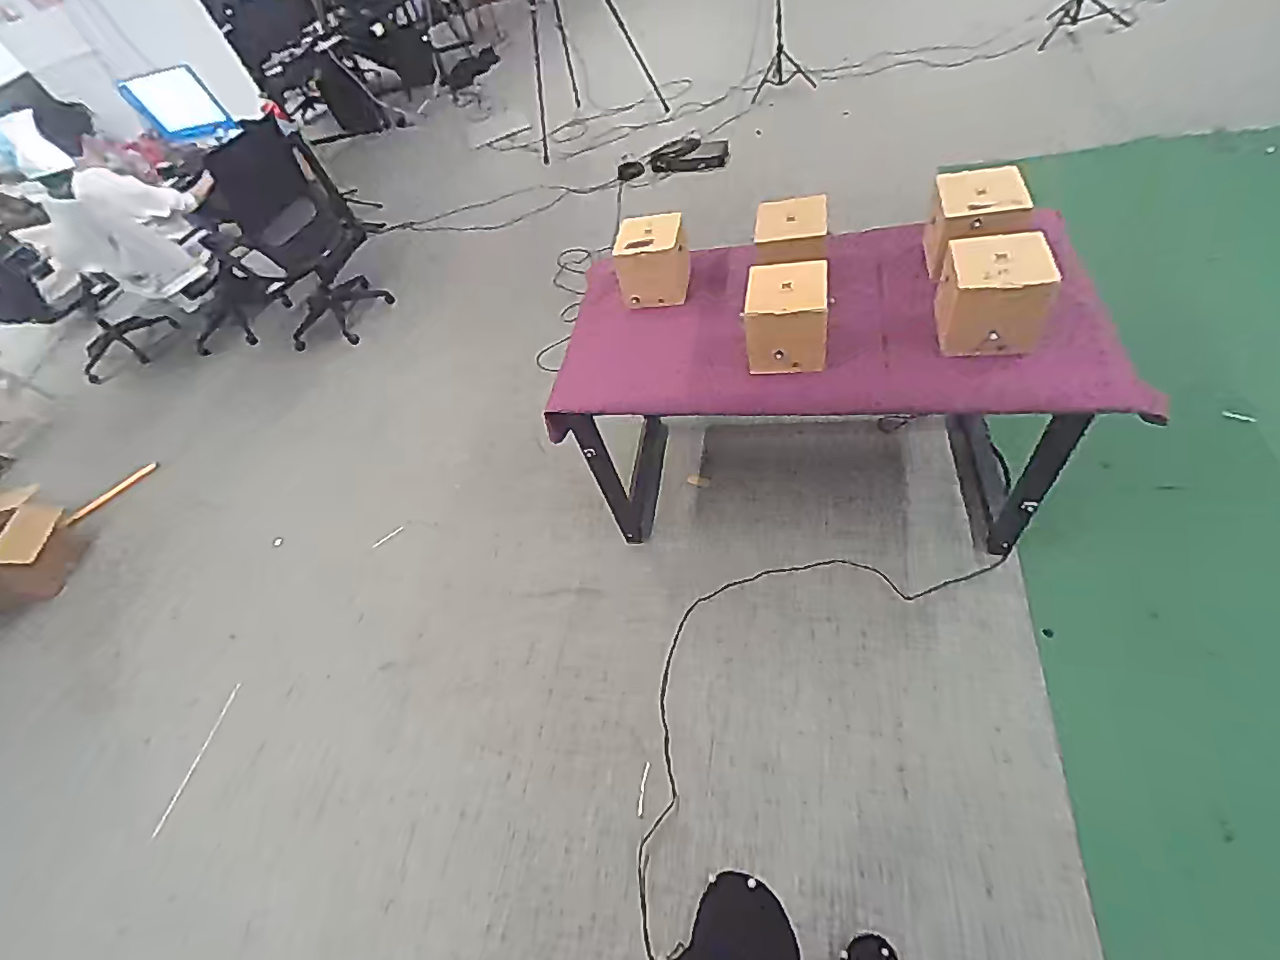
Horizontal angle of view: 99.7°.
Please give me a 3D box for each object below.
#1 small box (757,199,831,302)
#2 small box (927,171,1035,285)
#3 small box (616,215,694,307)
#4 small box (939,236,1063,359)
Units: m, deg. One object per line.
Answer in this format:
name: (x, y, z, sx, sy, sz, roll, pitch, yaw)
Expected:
small box: (0.391, -0.575, 1.365, 0.168, 0.176, 0.179, 1, 55, 18)
small box: (0.776, -0.579, 1.251, 0.168, 0.176, 0.179, 1, 55, 18)
small box: (0.048, -0.586, 1.471, 0.168, 0.176, 0.179, 1, 54, 16)
small box: (0.722, -0.368, 1.105, 0.168, 0.176, 0.179, 2, 53, 19)
